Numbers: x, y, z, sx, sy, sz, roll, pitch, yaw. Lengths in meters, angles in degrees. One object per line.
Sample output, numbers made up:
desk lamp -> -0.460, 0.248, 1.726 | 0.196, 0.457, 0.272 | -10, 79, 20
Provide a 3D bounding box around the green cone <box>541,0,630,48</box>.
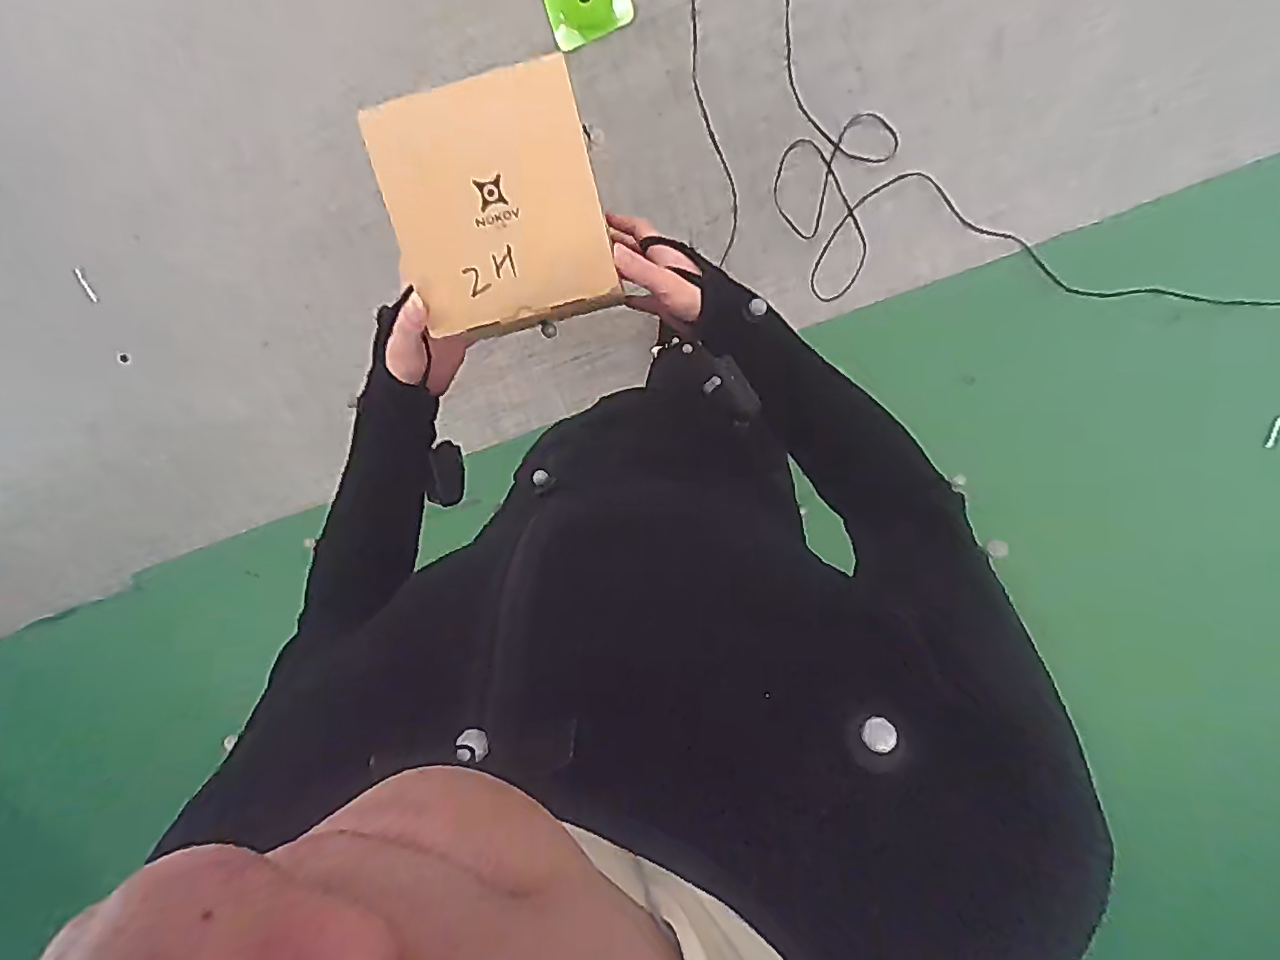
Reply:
green cone -> -0.156, -1.128, 1.137 | 0.202, 0.368, 0.200 | -17, 105, 10
